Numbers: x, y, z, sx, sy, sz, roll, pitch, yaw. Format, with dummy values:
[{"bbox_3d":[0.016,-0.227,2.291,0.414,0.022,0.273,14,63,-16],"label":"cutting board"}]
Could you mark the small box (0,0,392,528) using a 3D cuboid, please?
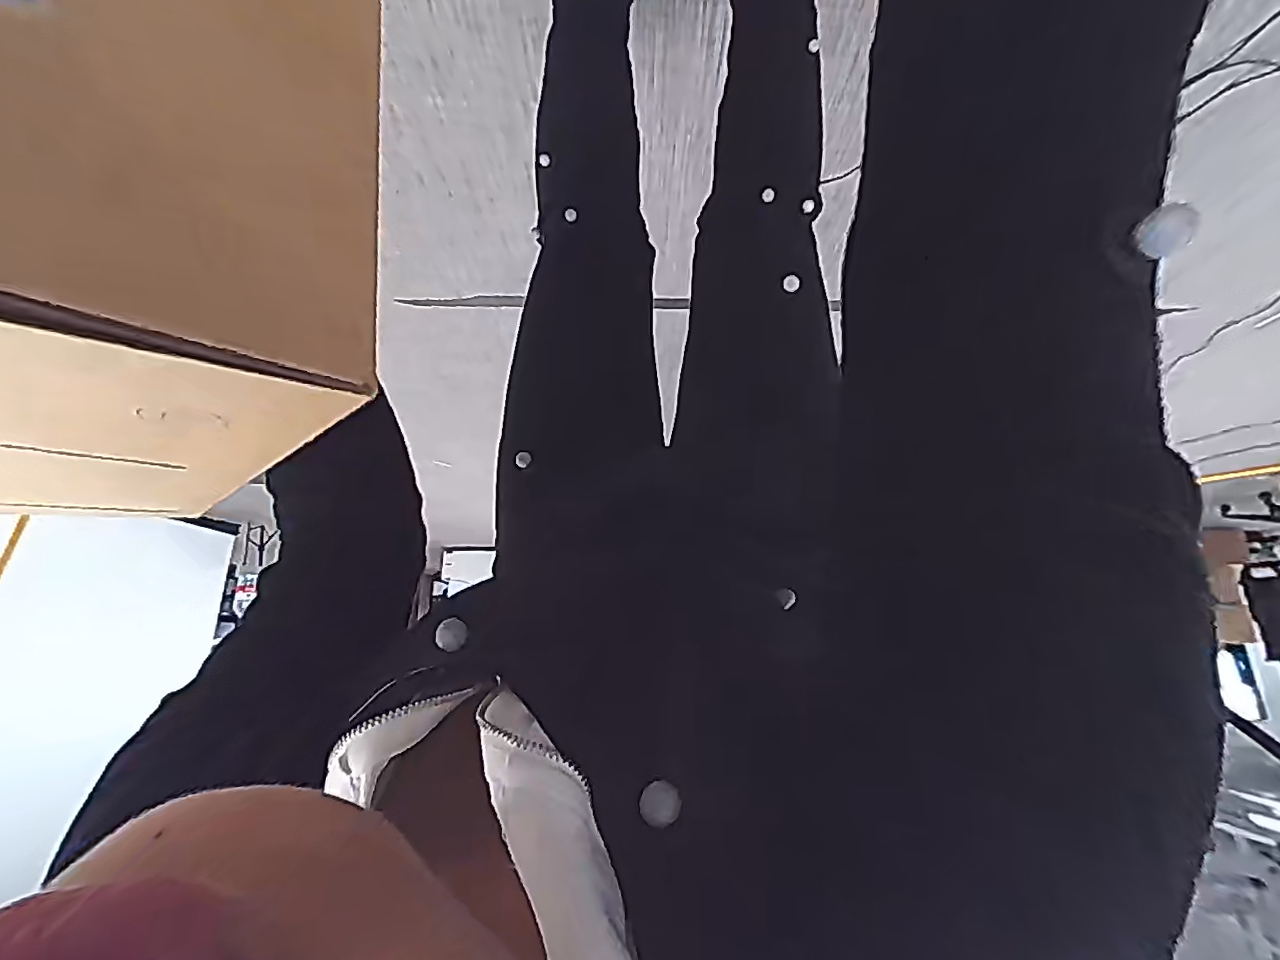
[{"bbox_3d":[-0.189,-0.092,0.138,0.168,0.176,0.179,-17,162,35],"label":"small box"}]
